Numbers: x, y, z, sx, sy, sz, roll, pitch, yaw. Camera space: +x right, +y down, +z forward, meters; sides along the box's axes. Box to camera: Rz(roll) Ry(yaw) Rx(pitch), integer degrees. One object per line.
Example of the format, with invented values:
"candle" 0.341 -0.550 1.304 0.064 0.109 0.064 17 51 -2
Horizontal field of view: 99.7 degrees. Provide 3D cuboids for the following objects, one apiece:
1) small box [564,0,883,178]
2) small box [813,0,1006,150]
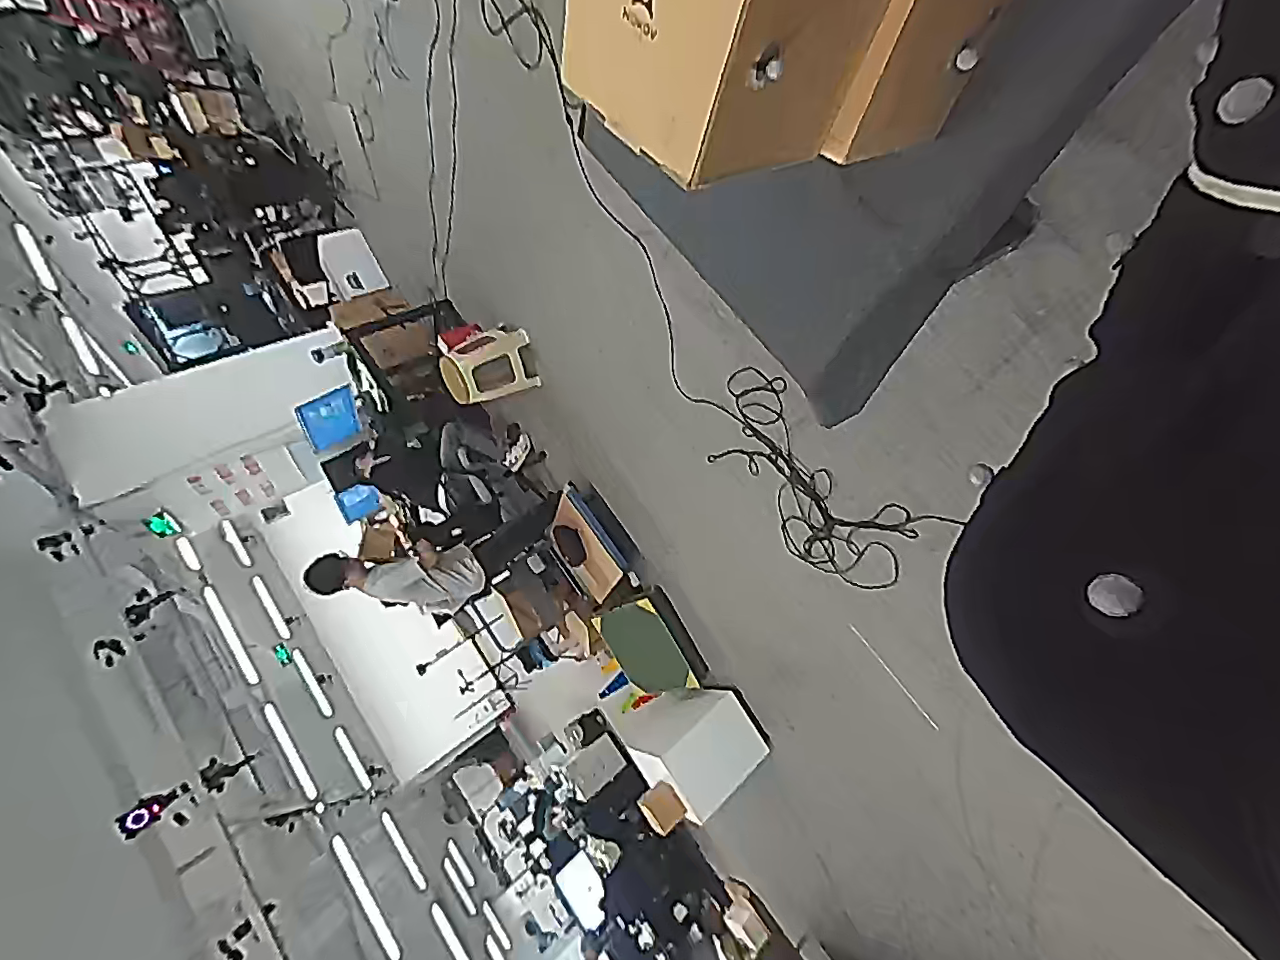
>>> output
"small box" 0.066 -0.363 0.396 0.168 0.176 0.179 48 149 17
"small box" 0.196 -0.424 0.473 0.179 0.176 0.168 46 149 21
